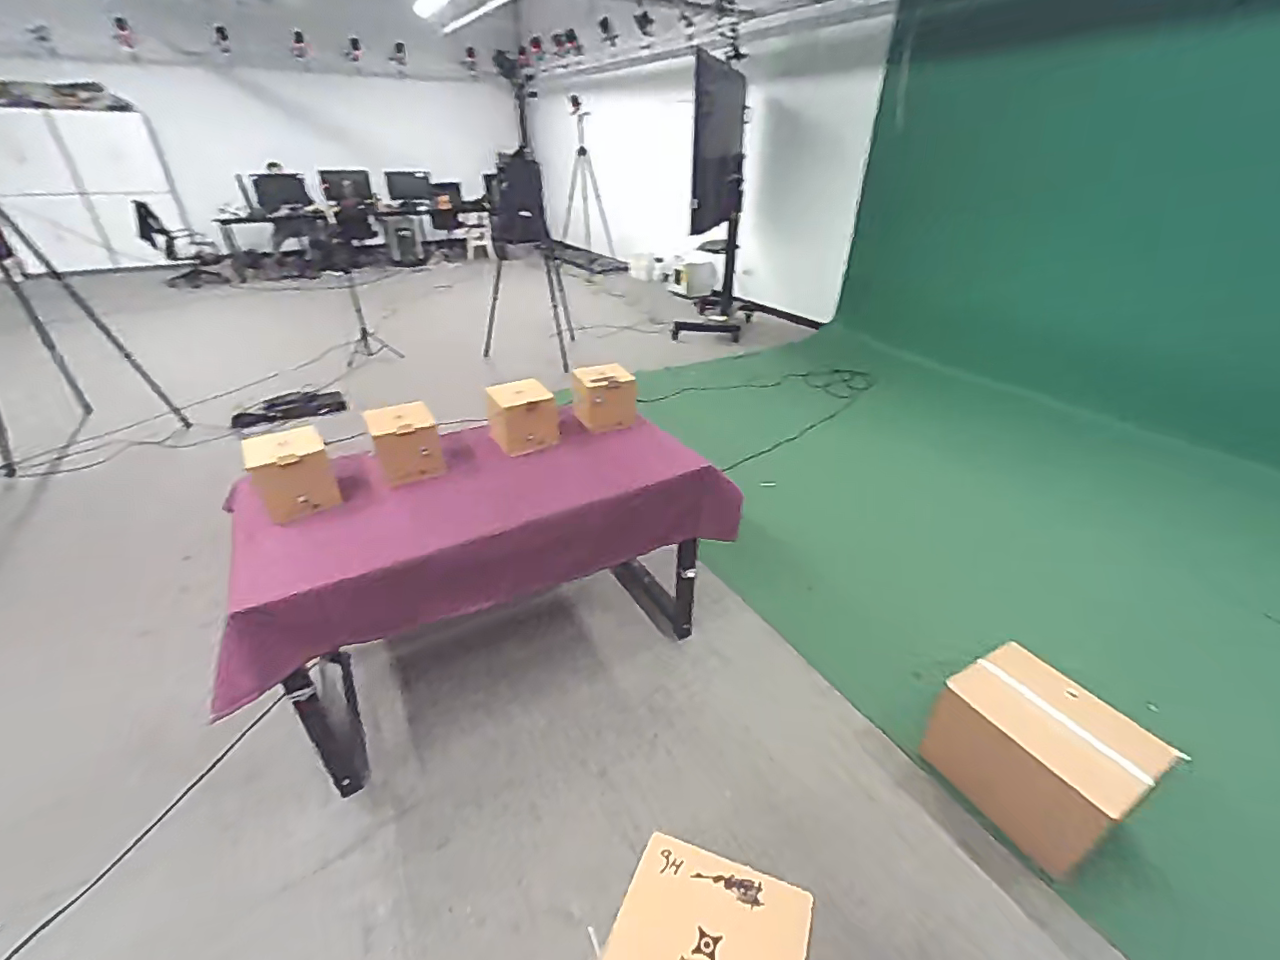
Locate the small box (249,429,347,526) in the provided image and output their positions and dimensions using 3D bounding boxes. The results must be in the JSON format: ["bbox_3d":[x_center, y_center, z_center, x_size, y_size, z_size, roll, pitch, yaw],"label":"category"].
[{"bbox_3d":[-0.883,-0.008,1.399,0.168,0.176,0.179,-21,38,-30],"label":"small box"}]

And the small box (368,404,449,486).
[{"bbox_3d":[-0.657,-0.097,1.543,0.168,0.176,0.179,-16,35,-26],"label":"small box"}]

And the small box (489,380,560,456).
[{"bbox_3d":[-0.362,-0.197,1.701,0.168,0.176,0.179,-19,37,-27],"label":"small box"}]

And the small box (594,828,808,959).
[{"bbox_3d":[0.056,0.483,0.501,0.168,0.176,0.179,7,26,23],"label":"small box"}]
